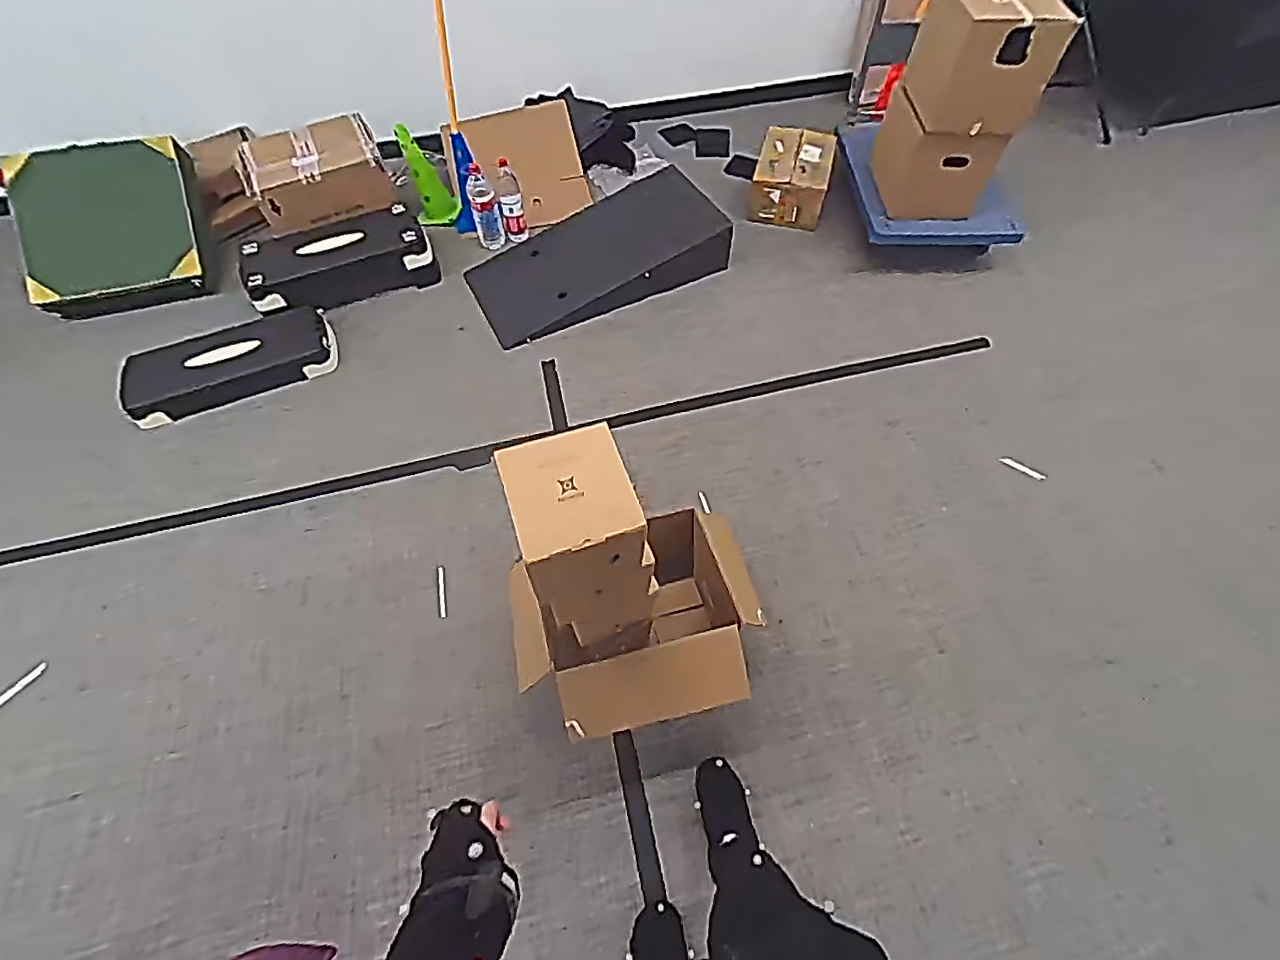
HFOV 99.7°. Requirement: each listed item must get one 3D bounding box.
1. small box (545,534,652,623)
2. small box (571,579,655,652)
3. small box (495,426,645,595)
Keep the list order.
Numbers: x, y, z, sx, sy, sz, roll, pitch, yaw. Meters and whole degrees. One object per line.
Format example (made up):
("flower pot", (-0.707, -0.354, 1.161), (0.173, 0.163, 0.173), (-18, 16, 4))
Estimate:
("small box", (-0.090, 0.129, 0.934), (0.179, 0.176, 0.168), (-17, 64, -13))
("small box", (-0.083, 0.266, 1.235), (0.179, 0.176, 0.168), (-30, 66, -19))
("small box", (-0.099, 0.054, 0.789), (0.168, 0.176, 0.179), (-16, 63, -13))
